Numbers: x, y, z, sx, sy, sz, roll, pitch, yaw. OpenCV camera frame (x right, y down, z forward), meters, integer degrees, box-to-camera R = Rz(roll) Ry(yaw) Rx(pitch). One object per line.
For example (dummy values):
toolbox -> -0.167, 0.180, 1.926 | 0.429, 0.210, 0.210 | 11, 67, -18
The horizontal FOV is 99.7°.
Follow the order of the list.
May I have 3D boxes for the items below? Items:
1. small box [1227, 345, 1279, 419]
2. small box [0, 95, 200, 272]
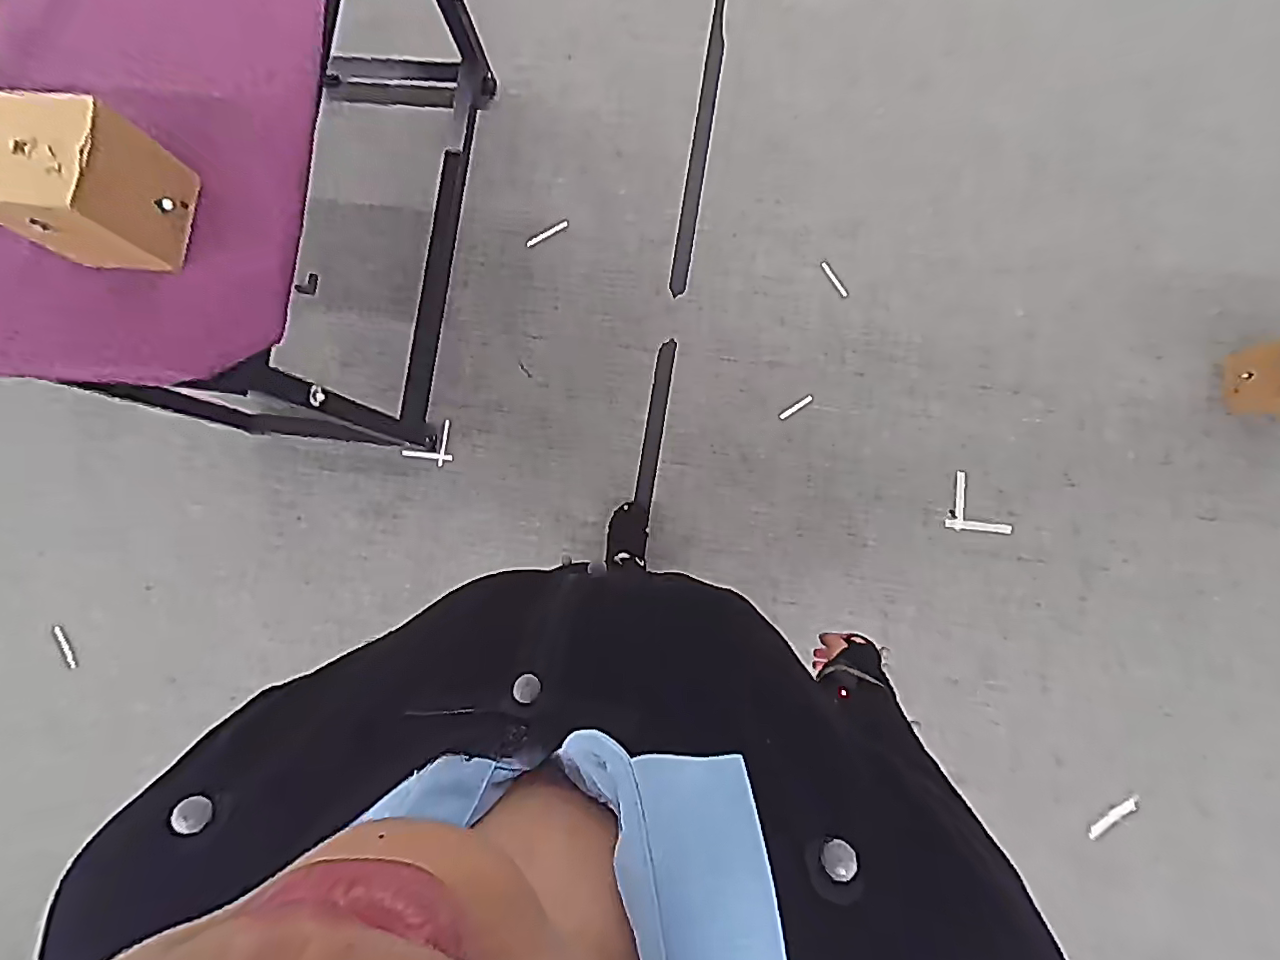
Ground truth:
small box -> 1.683, -0.256, 1.386 | 0.179, 0.176, 0.168 | 2, 83, 4
small box -> -0.818, -0.427, 0.802 | 0.179, 0.176, 0.168 | 5, 83, 3
